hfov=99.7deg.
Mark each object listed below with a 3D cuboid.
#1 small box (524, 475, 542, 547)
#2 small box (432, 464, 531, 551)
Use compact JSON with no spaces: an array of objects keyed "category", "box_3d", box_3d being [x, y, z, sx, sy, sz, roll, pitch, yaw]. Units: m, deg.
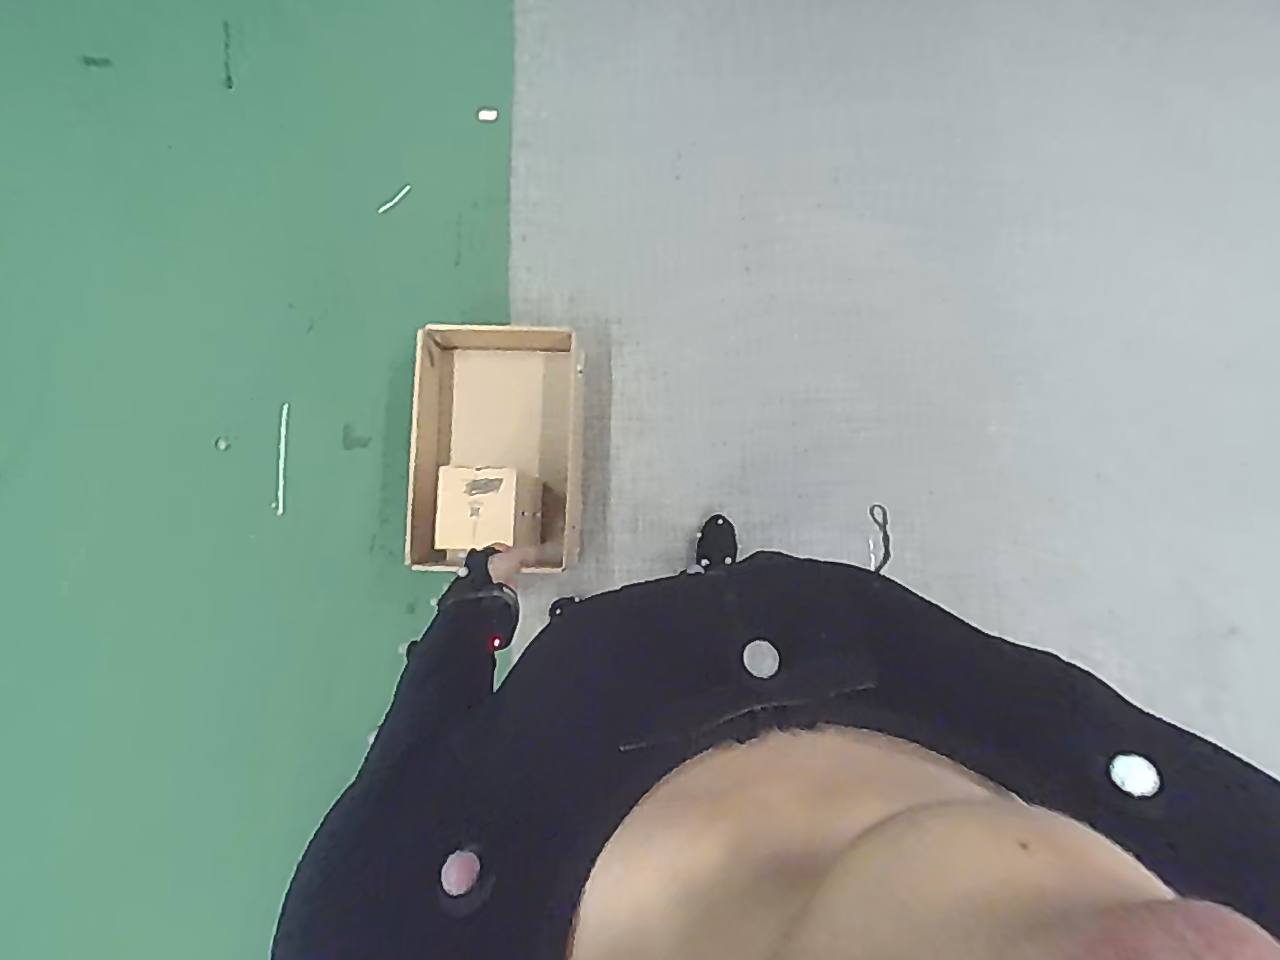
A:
[{"category":"small box","box_3d":[-0.344,0.081,1.357,0.168,0.176,0.179,1,84,-1]},{"category":"small box","box_3d":[-0.341,0.066,1.193,0.168,0.176,0.179,2,84,0]}]
